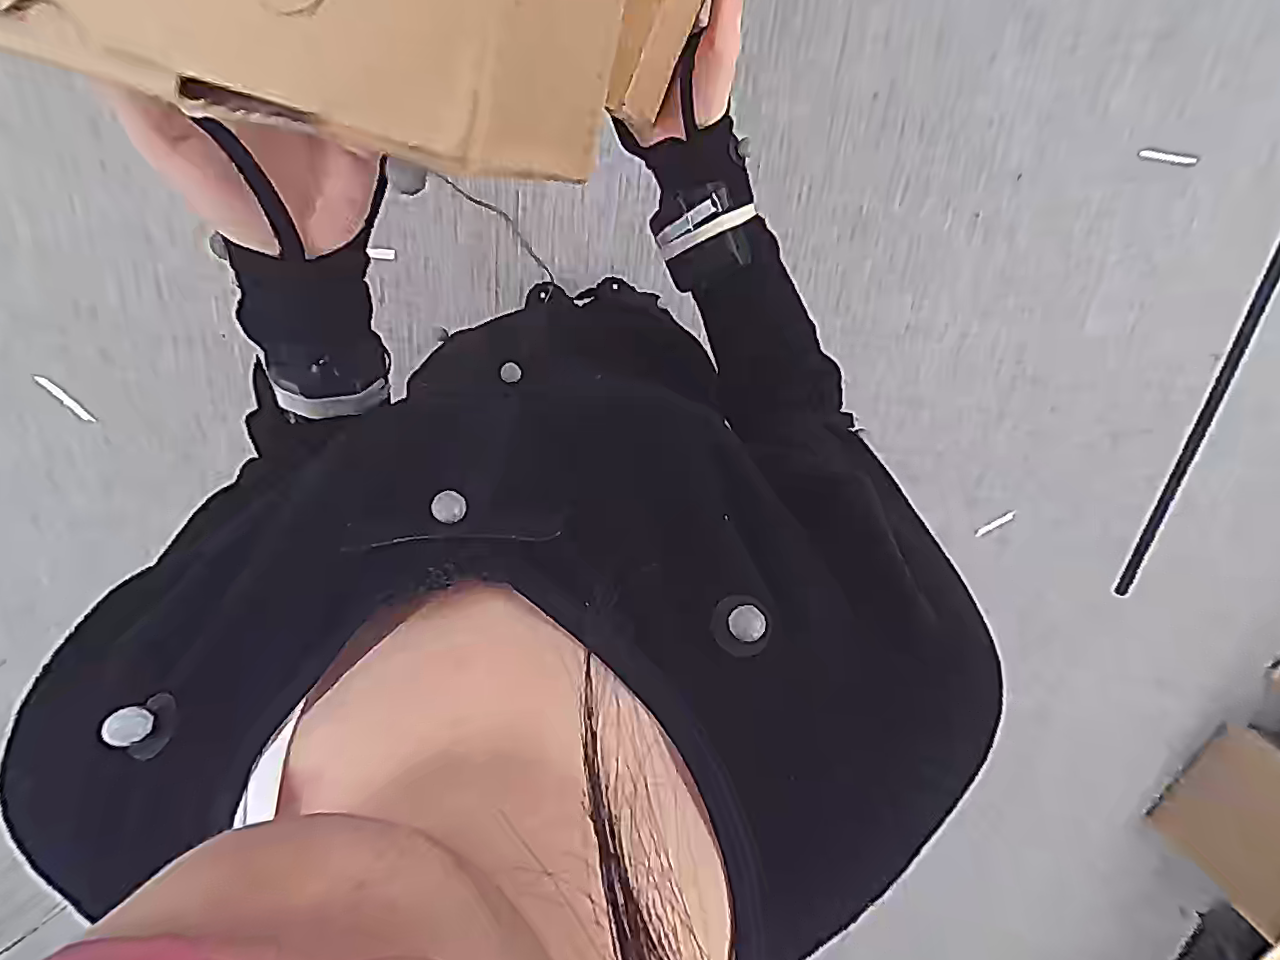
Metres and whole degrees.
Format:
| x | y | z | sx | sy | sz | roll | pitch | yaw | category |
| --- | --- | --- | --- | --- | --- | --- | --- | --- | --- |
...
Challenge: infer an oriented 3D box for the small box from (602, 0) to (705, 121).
| x | y | z | sx | sy | sz | roll | pitch | yaw | category |
| --- | --- | --- | --- | --- | --- | --- | --- | --- | --- |
| -0.034 | -0.306 | 0.259 | 0.168 | 0.176 | 0.179 | 27 | 119 | -10 | small box |

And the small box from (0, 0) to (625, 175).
| x | y | z | sx | sy | sz | roll | pitch | yaw | category |
| --- | --- | --- | --- | --- | --- | --- | --- | --- | --- |
| -0.083 | -0.195 | 0.137 | 0.168 | 0.176 | 0.179 | 15 | 118 | -5 | small box |

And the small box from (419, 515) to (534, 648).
| x | y | z | sx | sy | sz | roll | pitch | yaw | category |
| --- | --- | --- | --- | --- | --- | --- | --- | --- | --- |
| -0.298 | 0.182 | 1.011 | 0.168 | 0.176 | 0.179 | 10 | 108 | -7 | small box |
